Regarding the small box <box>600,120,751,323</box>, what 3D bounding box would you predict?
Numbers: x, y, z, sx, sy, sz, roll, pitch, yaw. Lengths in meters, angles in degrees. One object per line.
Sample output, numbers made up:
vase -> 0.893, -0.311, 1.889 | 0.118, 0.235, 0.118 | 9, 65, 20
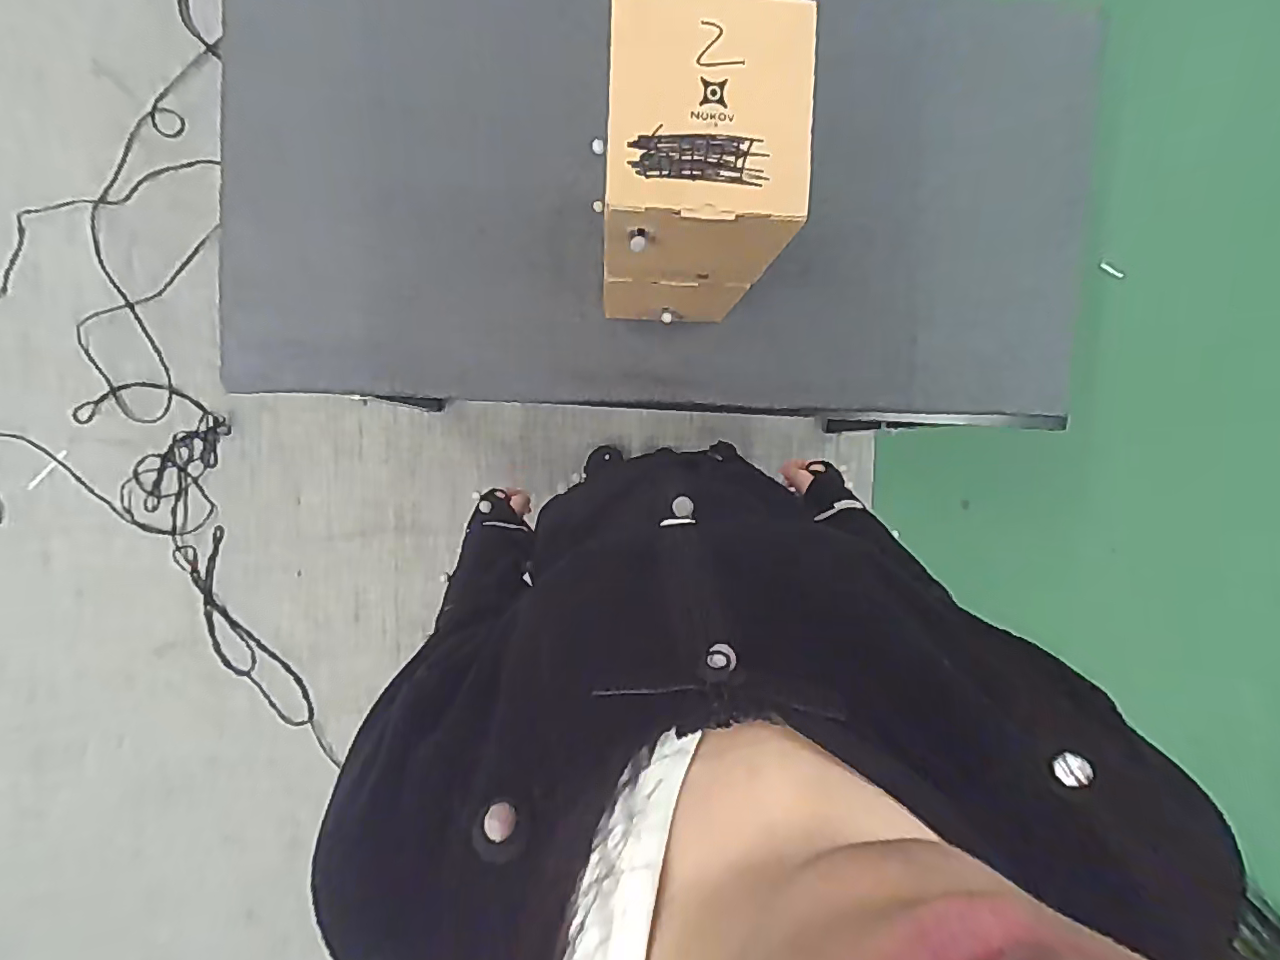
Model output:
small box -> 0.035, -0.309, 0.679 | 0.168, 0.176, 0.179 | 1, 93, -4
